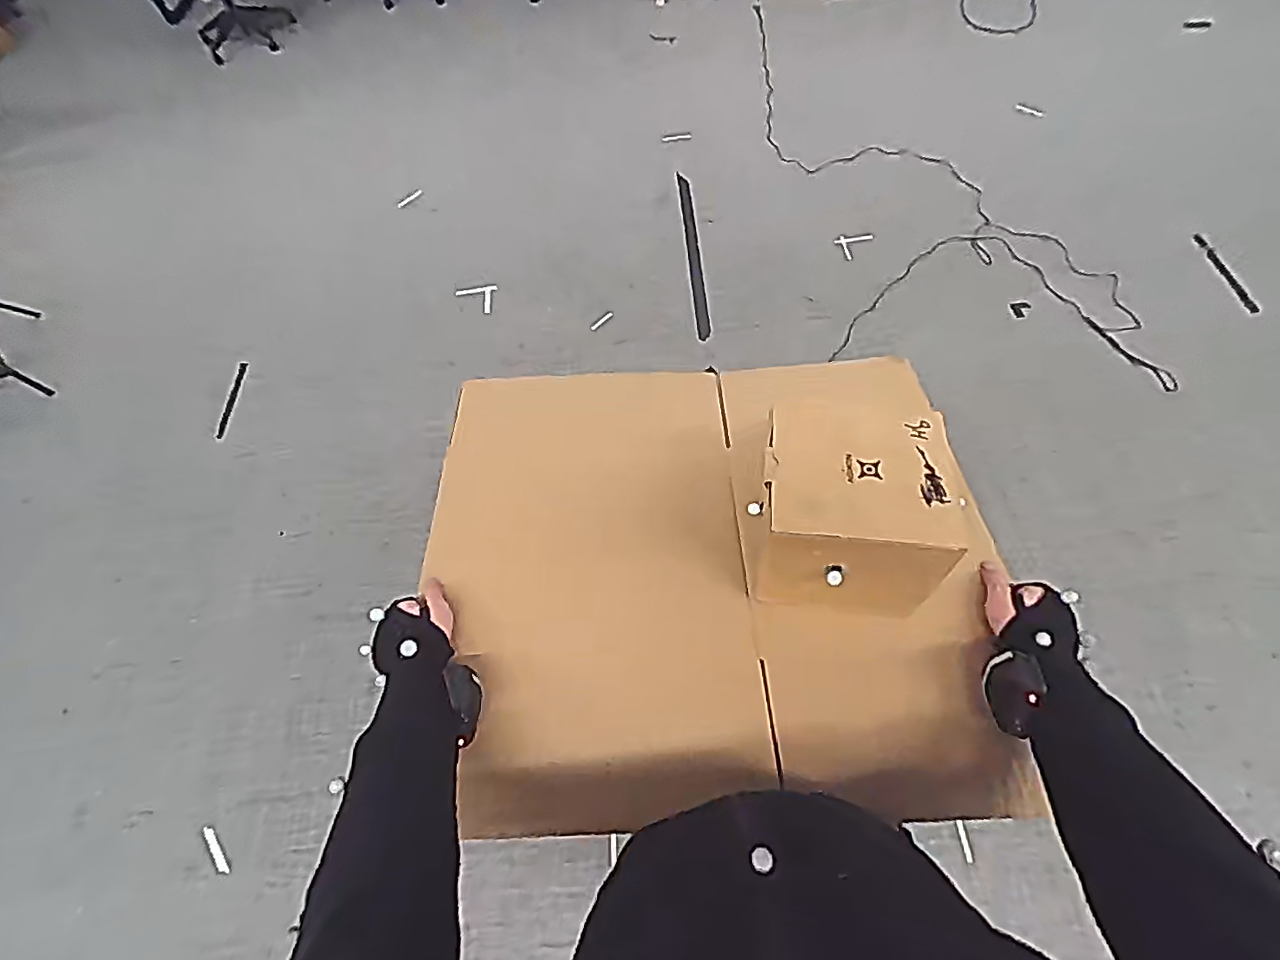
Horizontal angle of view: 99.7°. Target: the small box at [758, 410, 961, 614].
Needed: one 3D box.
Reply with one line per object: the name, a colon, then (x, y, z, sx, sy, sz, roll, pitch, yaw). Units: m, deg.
small box: (0.227, 0.040, 0.610, 0.179, 0.176, 0.168, 3, 56, 10)
